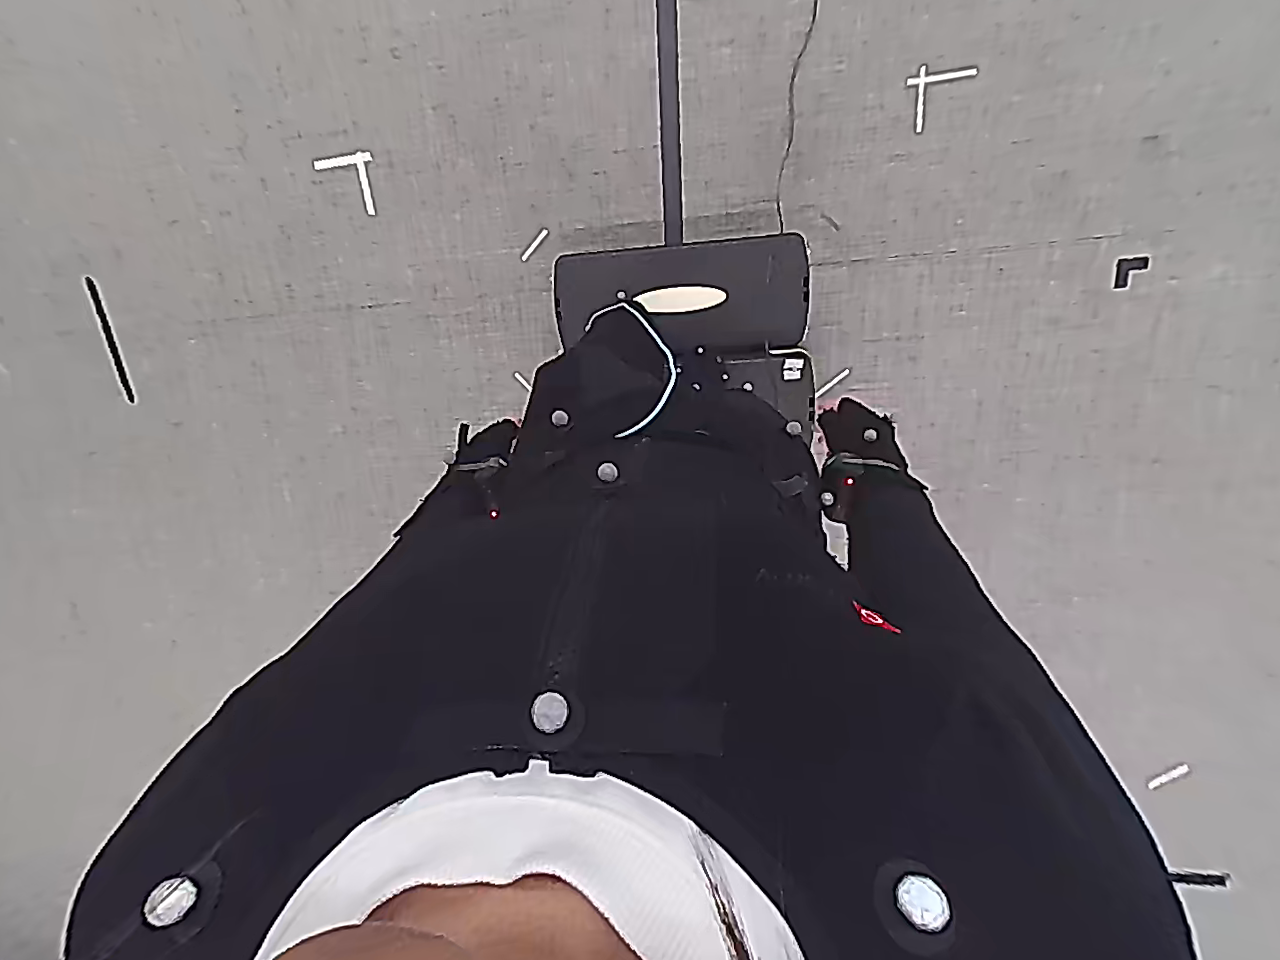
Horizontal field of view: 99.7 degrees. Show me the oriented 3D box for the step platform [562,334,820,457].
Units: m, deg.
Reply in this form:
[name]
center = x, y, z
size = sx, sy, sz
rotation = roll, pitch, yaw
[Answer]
[step platform]
center = 0.132, -0.227, 1.477
size = 0.684, 0.204, 0.286
rotation = -3, 106, 10
